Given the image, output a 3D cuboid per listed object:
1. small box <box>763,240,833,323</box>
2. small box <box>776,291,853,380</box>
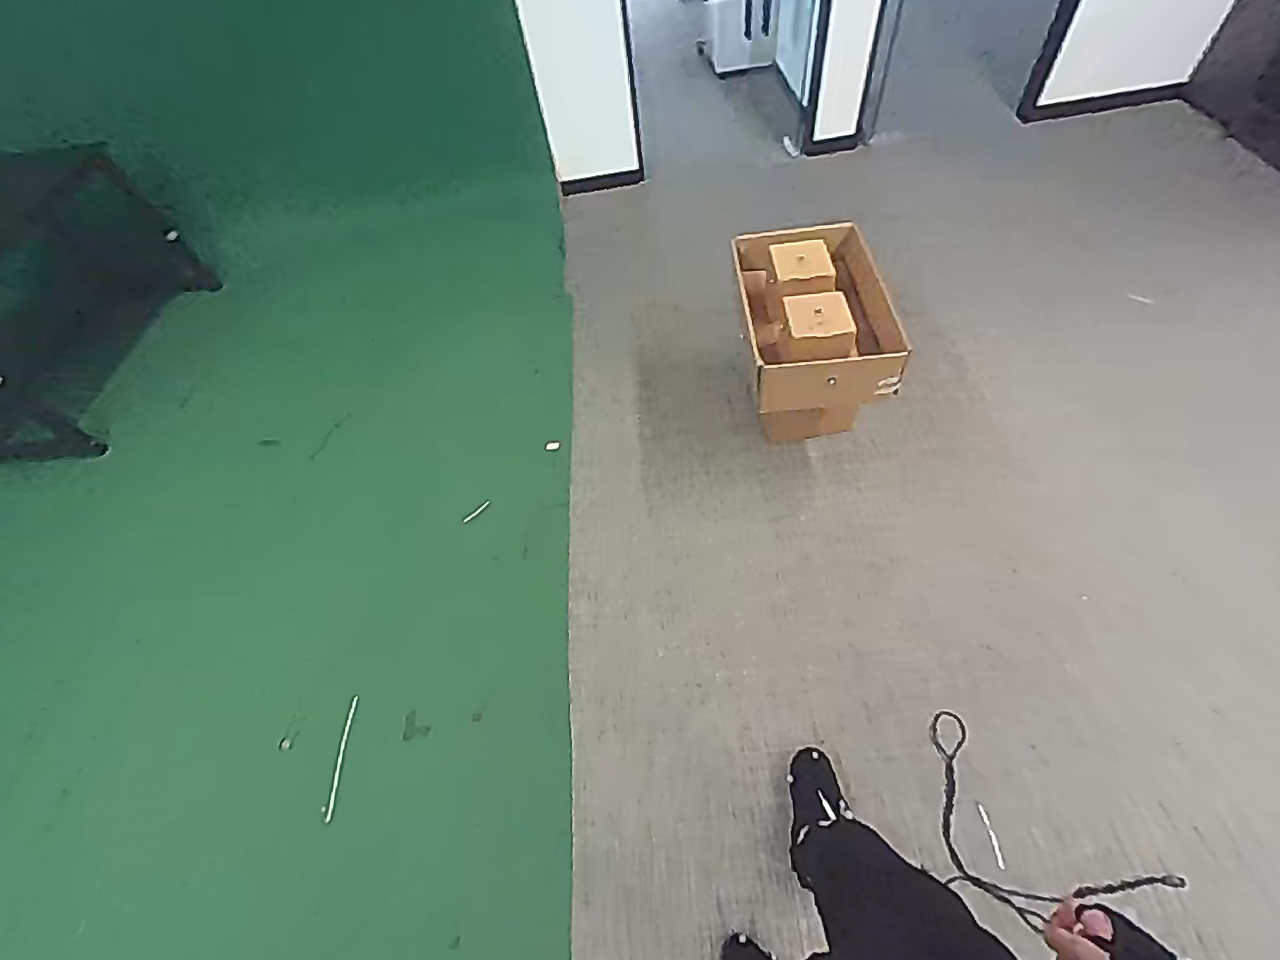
[{"bbox_3d":[0.483,-0.614,1.679,0.168,0.176,0.179,-6,57,4],"label":"small box"},{"bbox_3d":[0.486,-0.407,1.530,0.168,0.176,0.179,-5,55,6],"label":"small box"}]
